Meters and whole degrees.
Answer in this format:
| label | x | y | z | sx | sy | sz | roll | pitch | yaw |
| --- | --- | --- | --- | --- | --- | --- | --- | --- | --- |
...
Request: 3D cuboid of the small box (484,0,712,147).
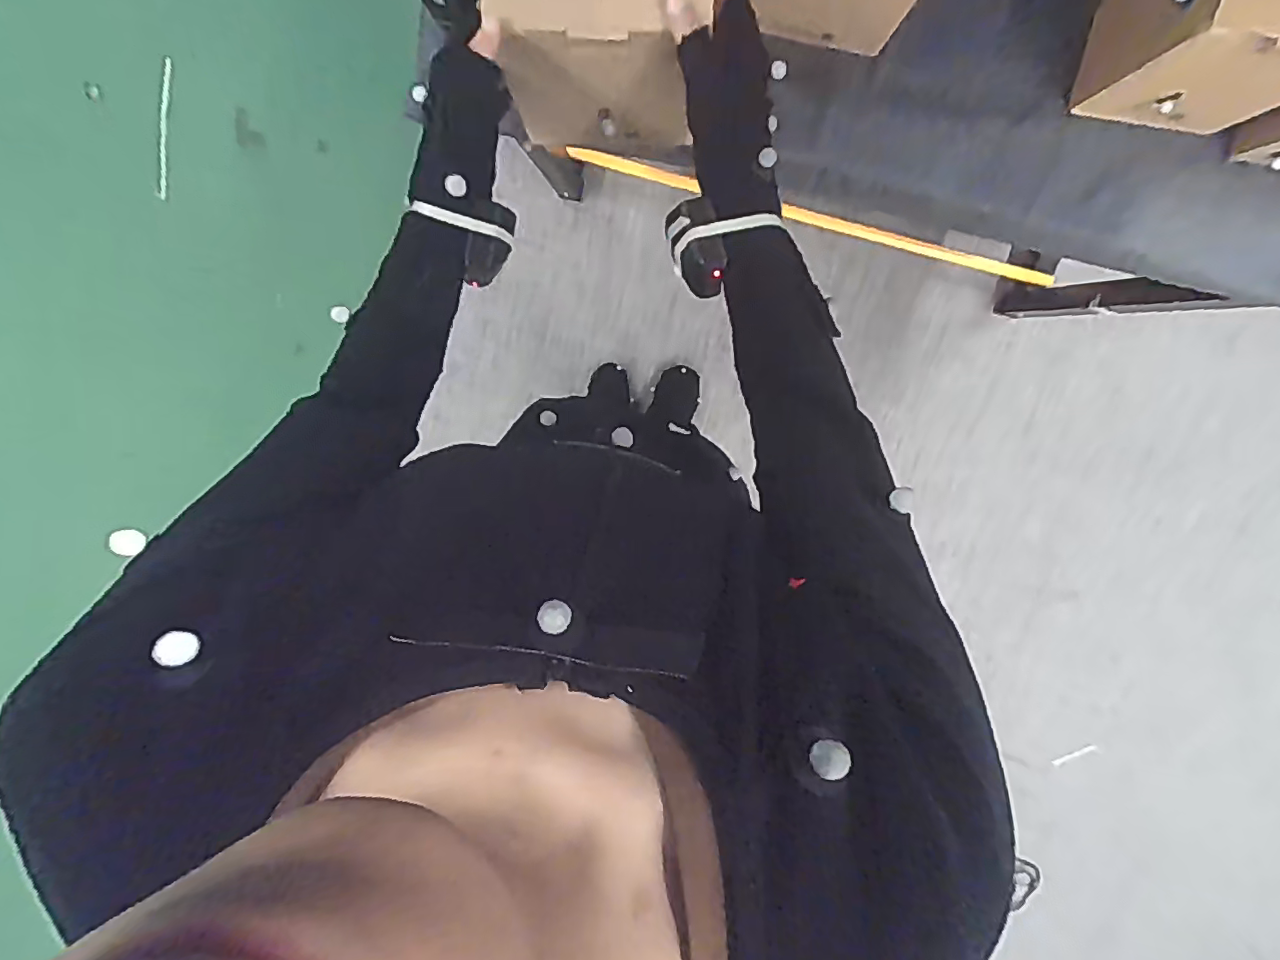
| label | x | y | z | sx | sy | sz | roll | pitch | yaw |
| --- | --- | --- | --- | --- | --- | --- | --- | --- | --- |
| small box | -0.027 | -0.419 | 0.459 | 0.168 | 0.176 | 0.179 | 1 | 97 | 1 |
